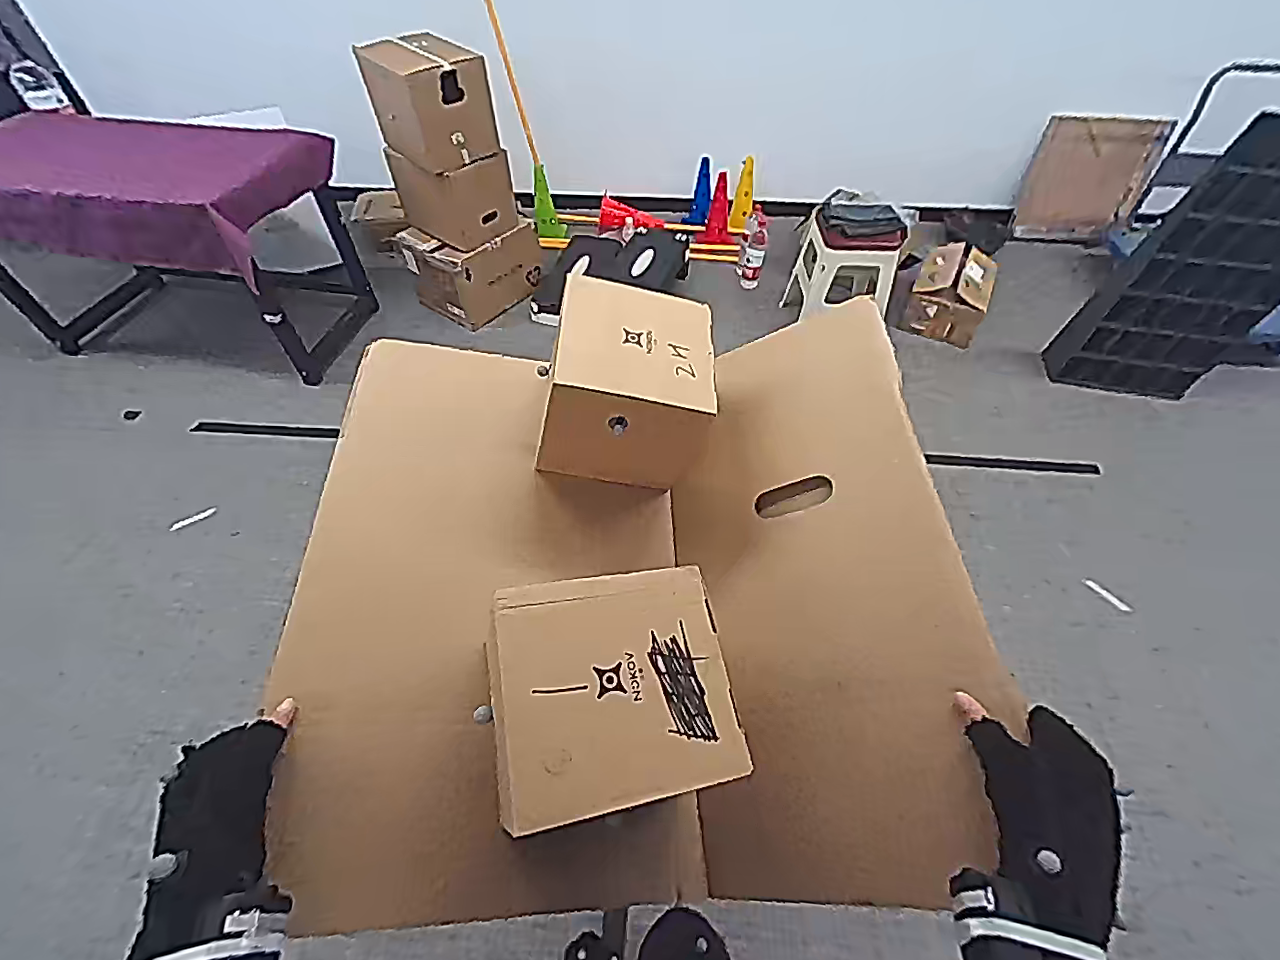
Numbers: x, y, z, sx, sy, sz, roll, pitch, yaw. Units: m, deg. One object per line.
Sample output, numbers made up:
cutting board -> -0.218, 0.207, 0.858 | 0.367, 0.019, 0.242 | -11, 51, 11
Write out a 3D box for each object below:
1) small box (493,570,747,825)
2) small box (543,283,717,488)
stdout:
small box -> -0.035, 0.191, 0.485 | 0.179, 0.176, 0.168 | -3, 62, -18
small box -> -0.018, -0.106, 0.666 | 0.179, 0.176, 0.168 | 10, 58, -12
